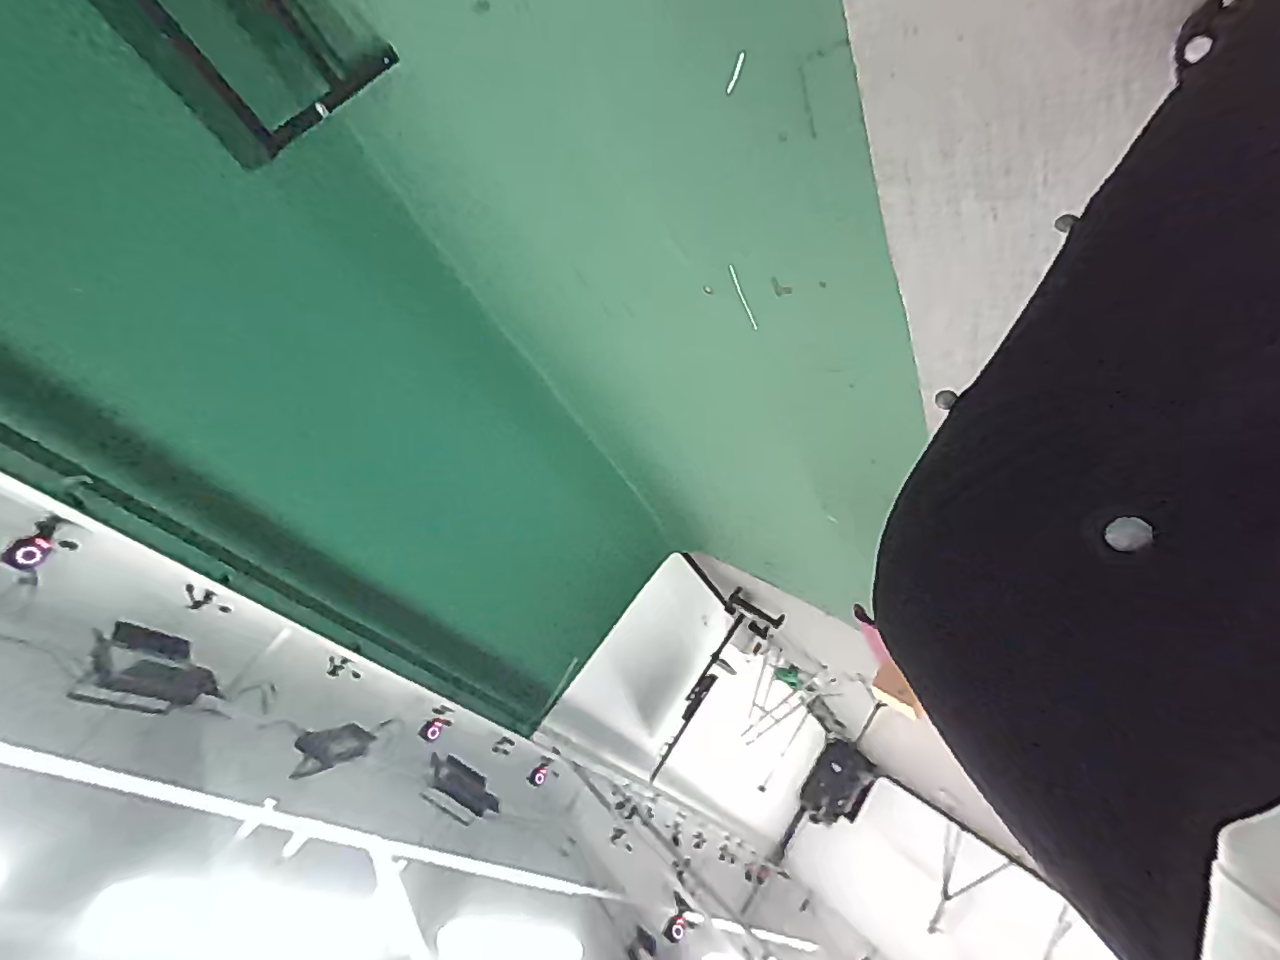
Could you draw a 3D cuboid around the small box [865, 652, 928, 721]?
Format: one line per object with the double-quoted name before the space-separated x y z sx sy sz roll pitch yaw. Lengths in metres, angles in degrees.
"small box" 1.018 0.811 2.132 0.168 0.176 0.179 21 158 43
